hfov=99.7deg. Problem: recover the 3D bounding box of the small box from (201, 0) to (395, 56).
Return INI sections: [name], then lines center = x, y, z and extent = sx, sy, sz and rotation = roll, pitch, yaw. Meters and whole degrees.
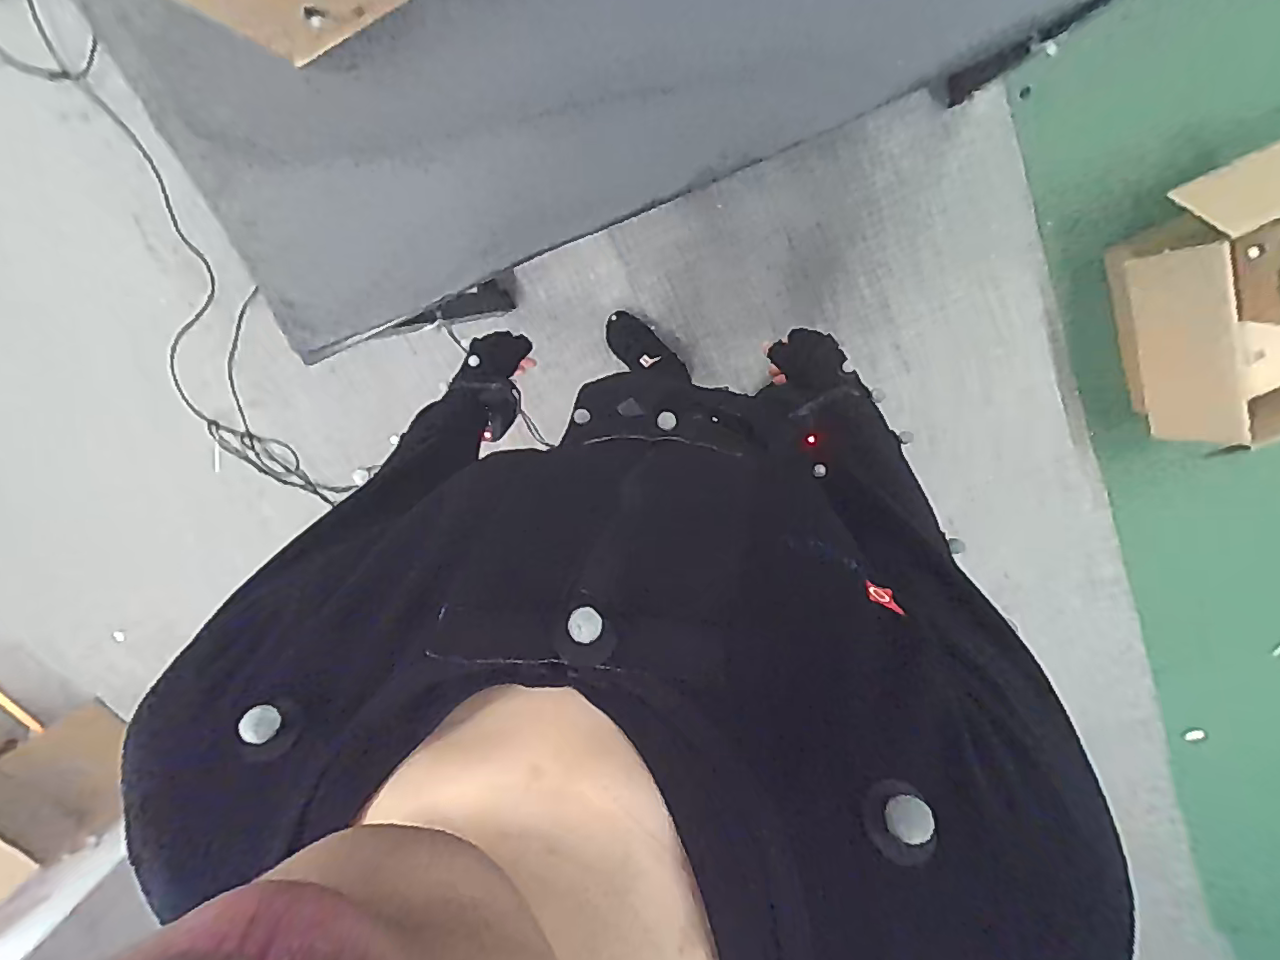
[small box]
center = -0.356, -0.541, 0.487
extent = 0.168, 0.176, 0.179
rotation = -20, 108, 12
